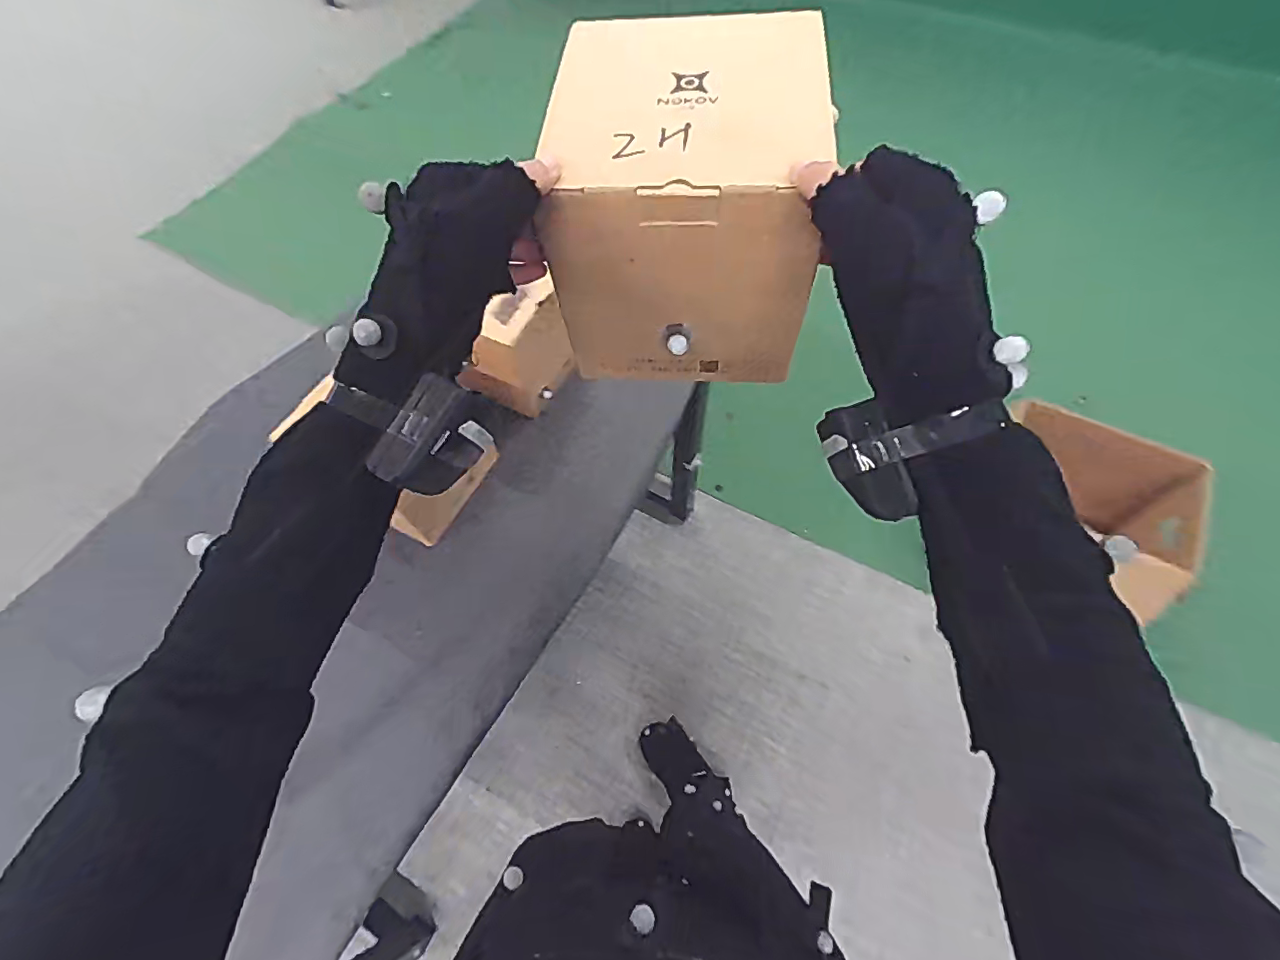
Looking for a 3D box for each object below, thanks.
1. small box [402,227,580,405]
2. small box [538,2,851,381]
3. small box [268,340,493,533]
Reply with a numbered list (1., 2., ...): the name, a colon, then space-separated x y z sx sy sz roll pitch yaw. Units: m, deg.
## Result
1. small box: -0.207 -0.237 0.812 0.179 0.176 0.168 23 65 14
2. small box: 0.041 -0.195 0.385 0.168 0.176 0.179 4 64 7
3. small box: -0.324 -0.048 0.719 0.179 0.176 0.168 23 65 14
